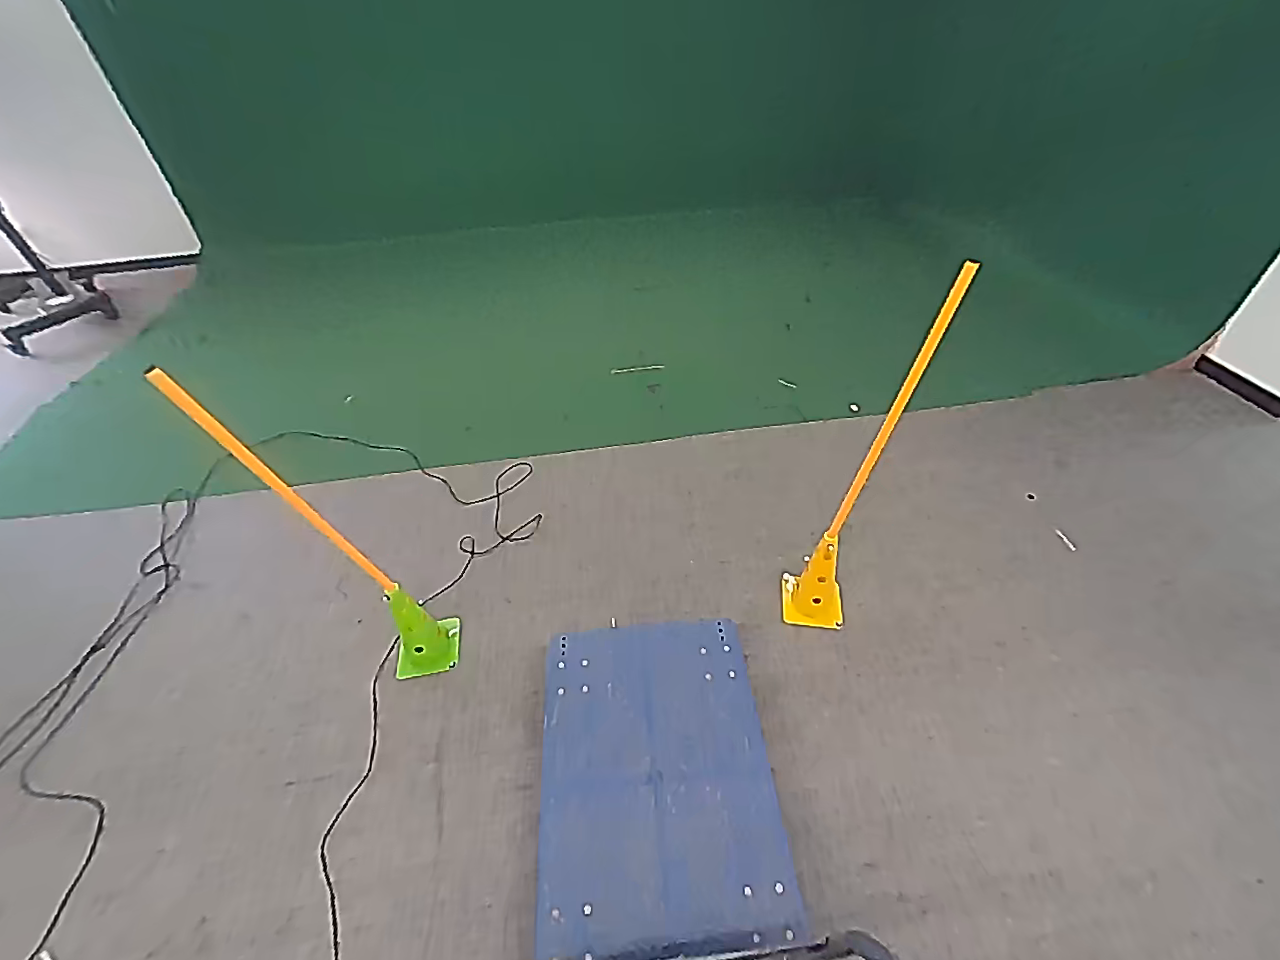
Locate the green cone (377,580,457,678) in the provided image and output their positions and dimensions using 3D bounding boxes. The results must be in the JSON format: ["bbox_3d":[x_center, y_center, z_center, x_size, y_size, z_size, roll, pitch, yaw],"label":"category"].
[{"bbox_3d":[-0.736,0.435,1.712,0.202,0.368,0.200,-11,44,-5],"label":"green cone"}]
